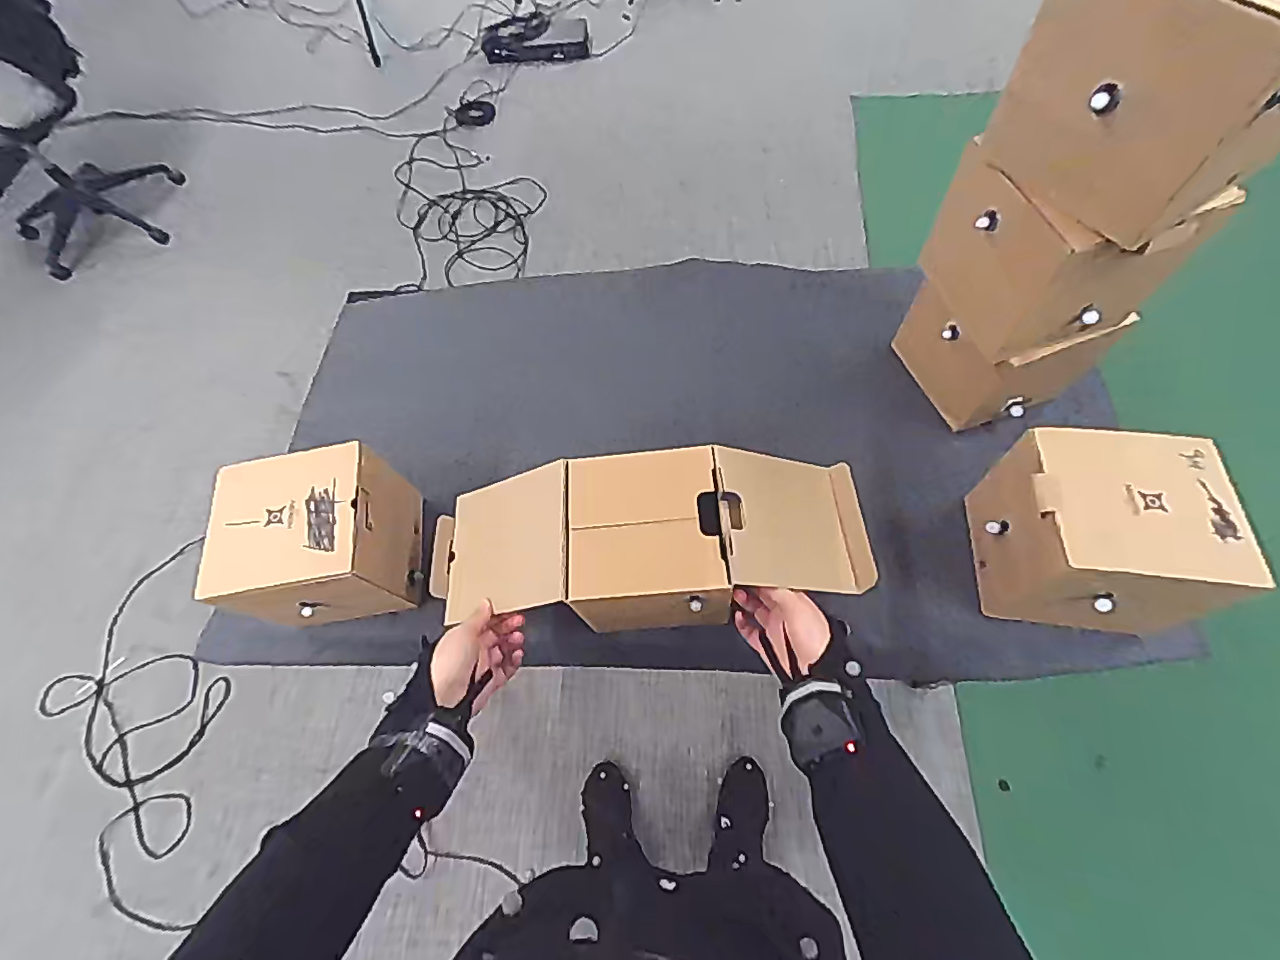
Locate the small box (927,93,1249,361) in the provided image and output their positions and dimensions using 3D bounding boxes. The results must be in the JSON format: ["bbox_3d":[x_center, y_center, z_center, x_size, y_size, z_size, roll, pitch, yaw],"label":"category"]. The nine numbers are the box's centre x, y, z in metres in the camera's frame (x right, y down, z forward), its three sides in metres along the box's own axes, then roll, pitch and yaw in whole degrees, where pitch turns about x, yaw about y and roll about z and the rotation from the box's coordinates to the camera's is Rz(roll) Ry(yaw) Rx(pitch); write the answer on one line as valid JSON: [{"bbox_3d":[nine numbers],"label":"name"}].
[{"bbox_3d":[0.447,-0.262,0.583,0.168,0.176,0.179,-17,64,1],"label":"small box"}]

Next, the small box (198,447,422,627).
[{"bbox_3d":[-0.392,0.080,0.681,0.179,0.176,0.168,-10,65,1],"label":"small box"}]

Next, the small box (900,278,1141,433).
[{"bbox_3d":[0.486,-0.194,0.729,0.168,0.176,0.179,-21,66,-2],"label":"small box"}]

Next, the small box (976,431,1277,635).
[{"bbox_3d":[0.501,0.064,0.599,0.179,0.176,0.168,5,61,9],"label":"small box"}]
